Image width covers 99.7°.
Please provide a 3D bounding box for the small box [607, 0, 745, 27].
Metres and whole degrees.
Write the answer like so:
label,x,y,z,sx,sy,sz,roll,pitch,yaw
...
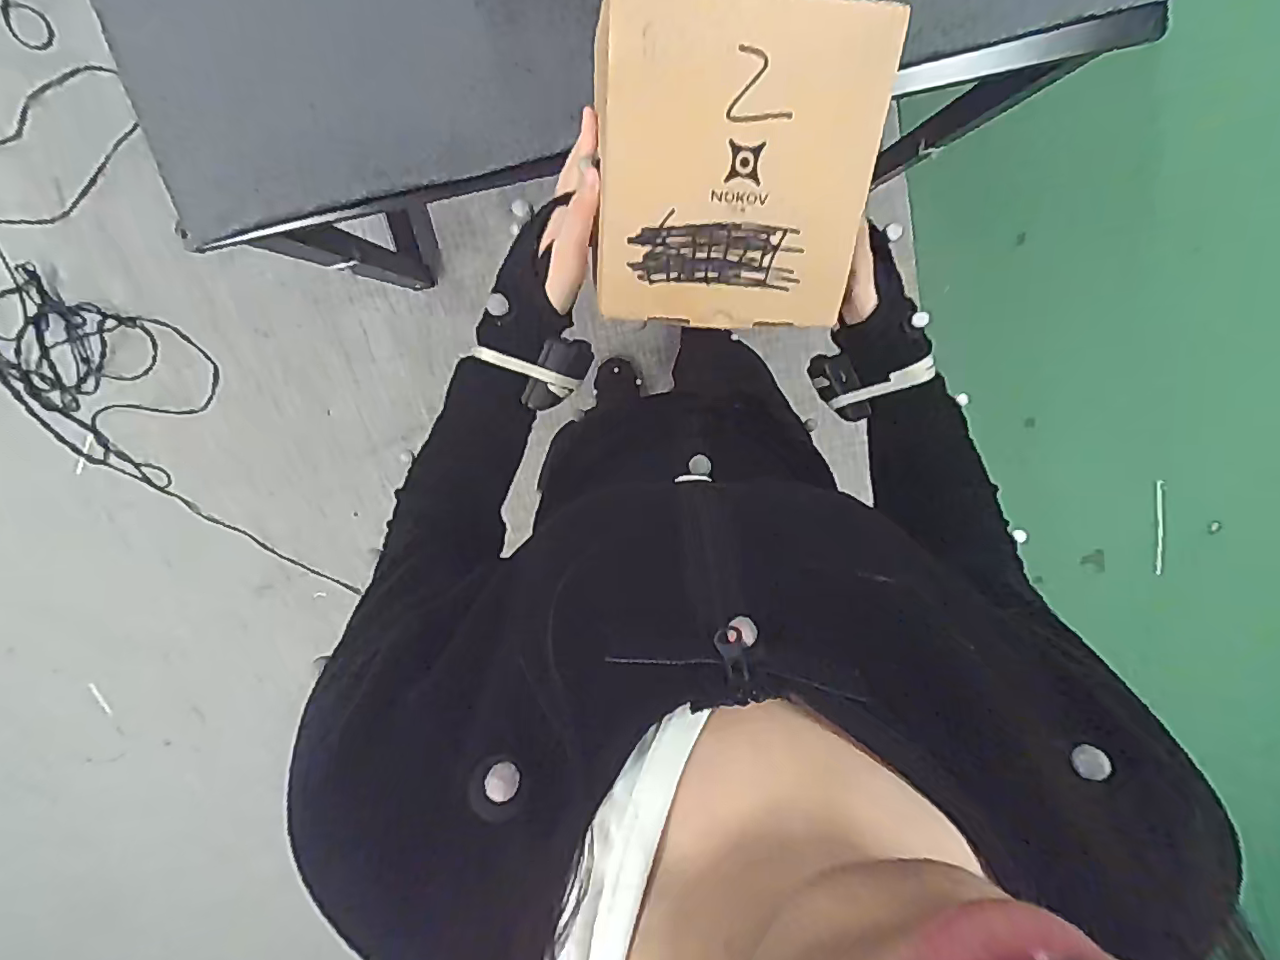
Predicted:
label,x,y,z,sx,sy,sz,roll,pitch,yaw
small box,0.035,-0.593,0.519,0.168,0.176,0.179,-12,104,0
